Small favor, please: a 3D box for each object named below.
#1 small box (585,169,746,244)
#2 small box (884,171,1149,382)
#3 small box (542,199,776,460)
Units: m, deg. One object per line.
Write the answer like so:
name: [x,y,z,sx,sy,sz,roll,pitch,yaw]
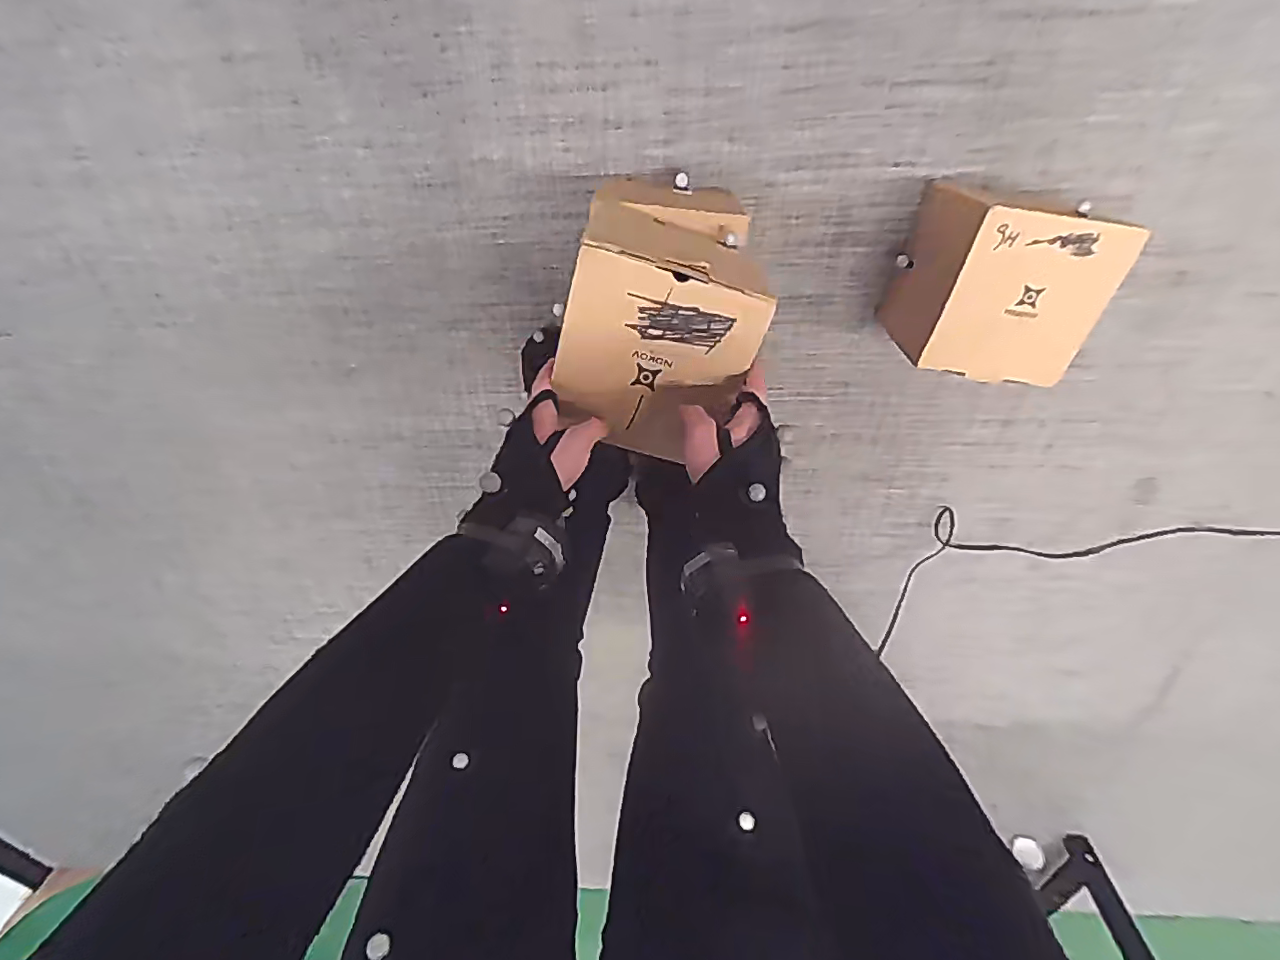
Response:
small box: [0.023,-0.260,0.654,0.168,0.176,0.179,5,126,-1]
small box: [0.411,-0.242,0.636,0.168,0.176,0.179,9,128,-1]
small box: [0.011,-0.152,0.530,0.168,0.176,0.179,14,128,-7]
